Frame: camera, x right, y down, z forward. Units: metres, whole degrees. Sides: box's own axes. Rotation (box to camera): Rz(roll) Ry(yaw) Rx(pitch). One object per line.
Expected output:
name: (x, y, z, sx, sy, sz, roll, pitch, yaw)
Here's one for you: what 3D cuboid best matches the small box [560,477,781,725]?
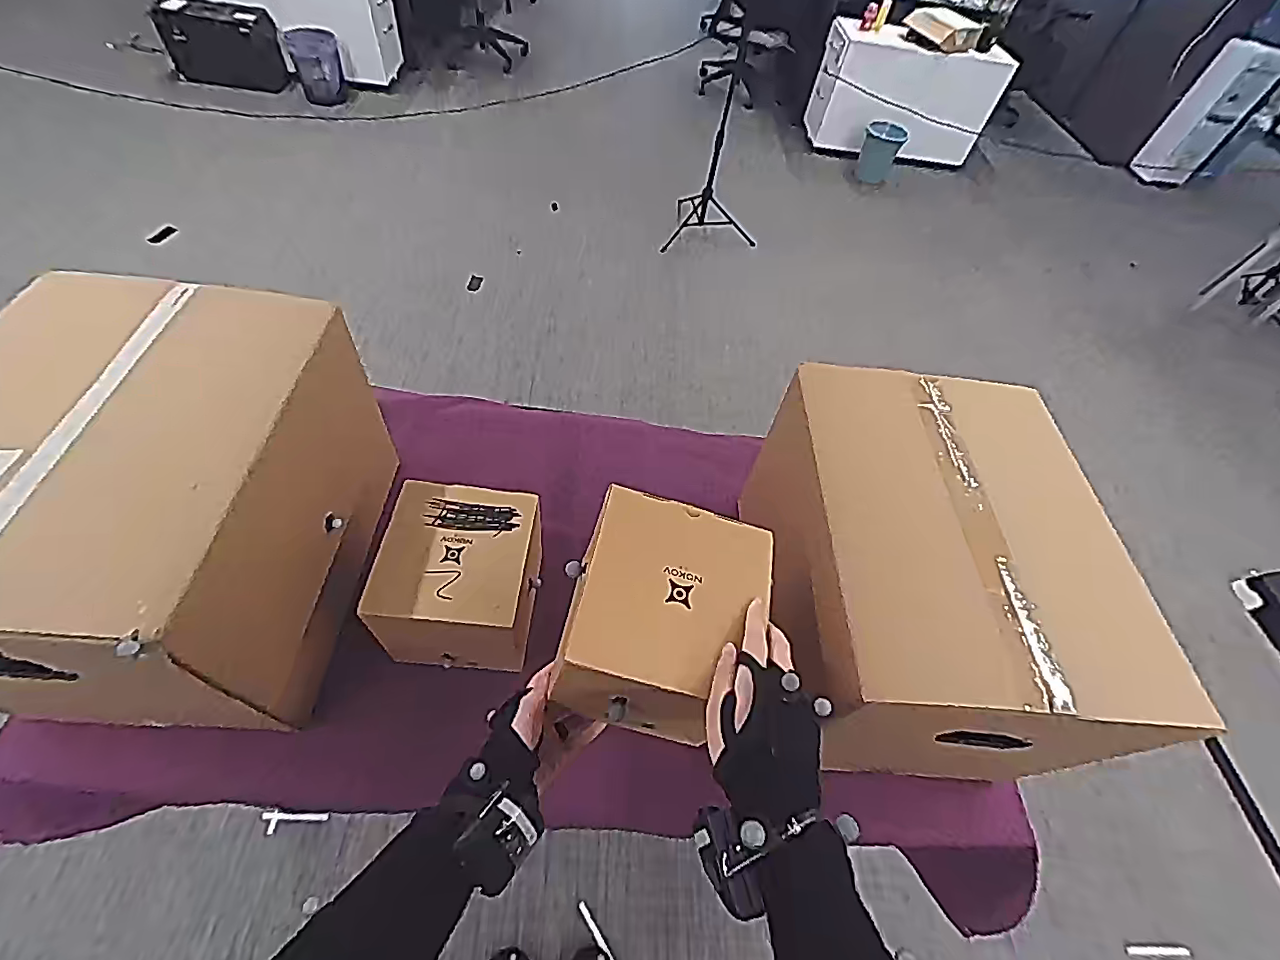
small box: (0.034, 0.107, 0.515, 0.179, 0.176, 0.168, 1, 33, 6)
